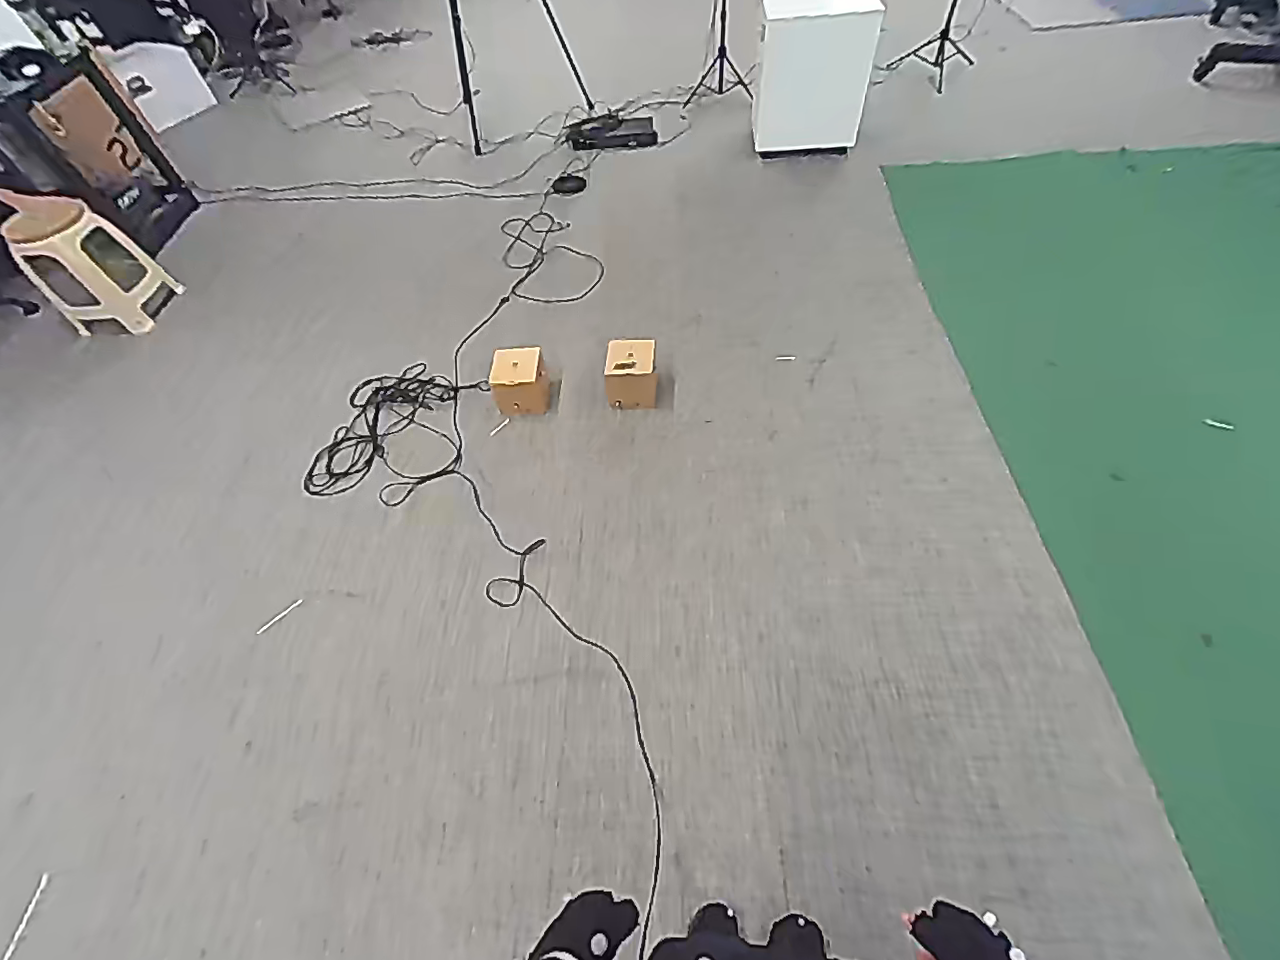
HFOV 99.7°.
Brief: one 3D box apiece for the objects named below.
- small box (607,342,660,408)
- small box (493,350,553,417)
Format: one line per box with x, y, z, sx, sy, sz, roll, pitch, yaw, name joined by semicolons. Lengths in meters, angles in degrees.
-0.018;-0.373;1.943;0.168;0.176;0.179;1;55;7;small box
-0.419;-0.349;1.970;0.168;0.176;0.179;-3;55;4;small box
